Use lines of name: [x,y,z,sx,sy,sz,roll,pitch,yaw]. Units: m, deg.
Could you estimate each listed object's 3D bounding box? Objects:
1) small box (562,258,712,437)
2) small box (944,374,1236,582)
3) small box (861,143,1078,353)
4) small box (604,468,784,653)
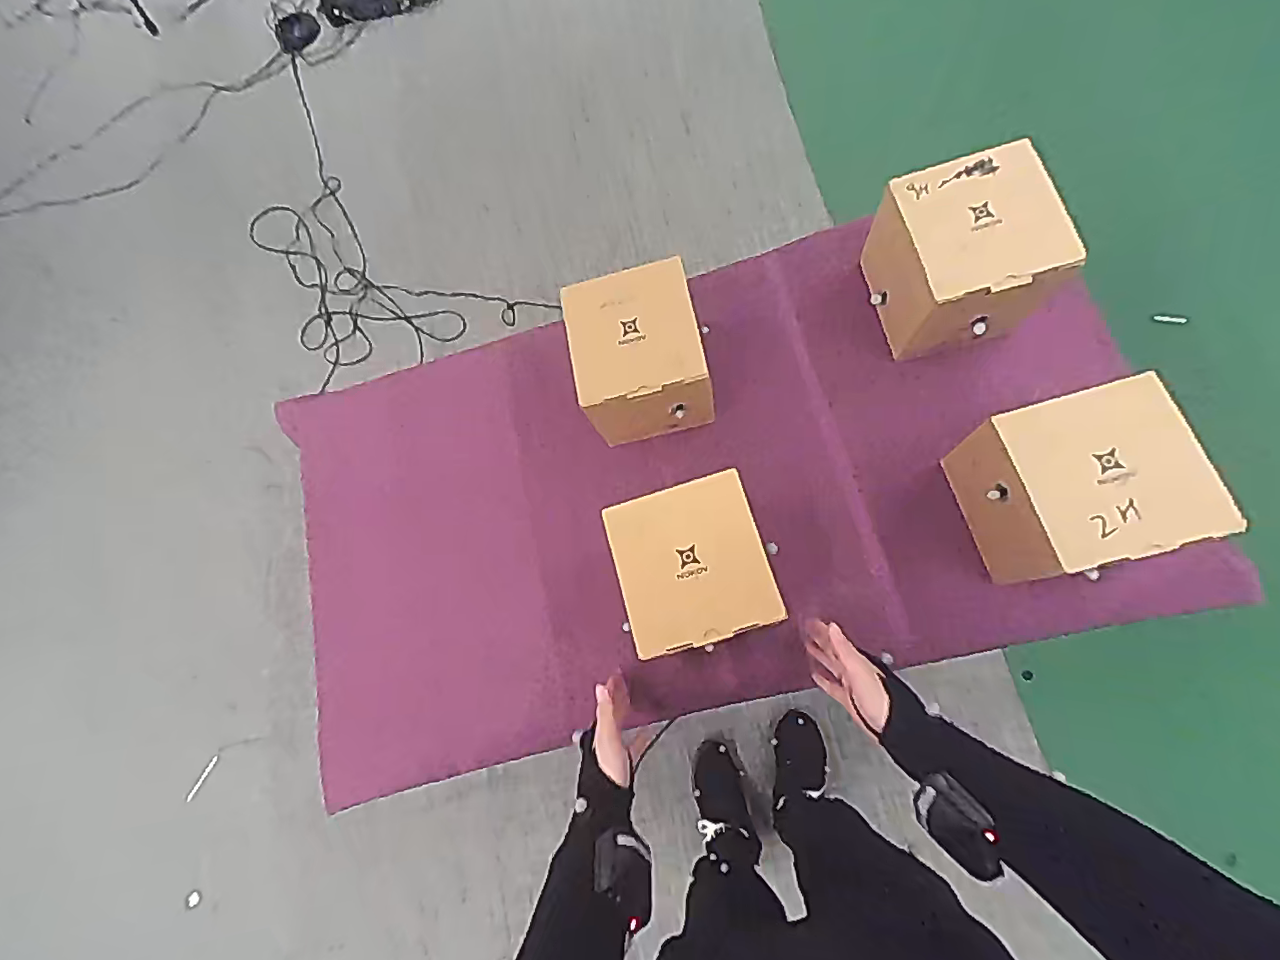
small box: [0.003,-0.171,0.761,0.168,0.176,0.179,-12,74,7]
small box: [0.484,0.010,0.621,0.168,0.176,0.179,-16,73,8]
small box: [0.411,-0.285,0.710,0.168,0.176,0.179,-14,76,7]
small box: [0.067,0.108,0.678,0.168,0.176,0.179,-18,73,5]
